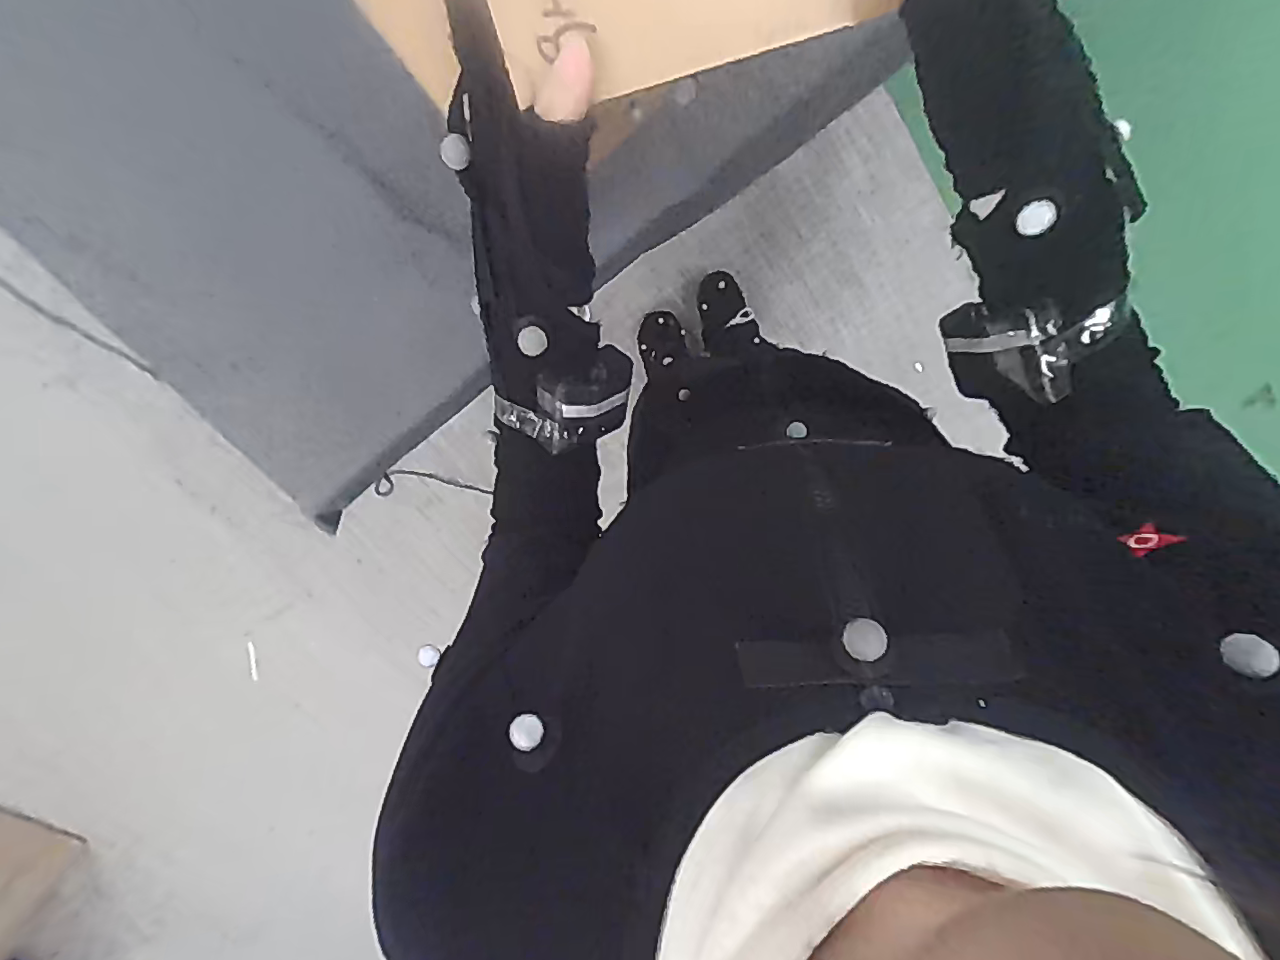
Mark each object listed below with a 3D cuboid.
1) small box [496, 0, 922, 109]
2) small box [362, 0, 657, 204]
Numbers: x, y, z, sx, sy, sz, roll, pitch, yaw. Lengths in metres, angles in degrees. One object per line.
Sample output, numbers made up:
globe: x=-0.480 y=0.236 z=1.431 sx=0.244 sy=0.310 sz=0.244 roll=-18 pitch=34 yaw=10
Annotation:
small box: x=0.012 y=-0.286 z=0.240 sx=0.179 sy=0.176 sz=0.168 roll=-13 pitch=126 yaw=4
small box: x=-0.094 y=-0.379 z=0.476 sx=0.179 sy=0.176 sz=0.168 roll=-37 pitch=104 yaw=13
